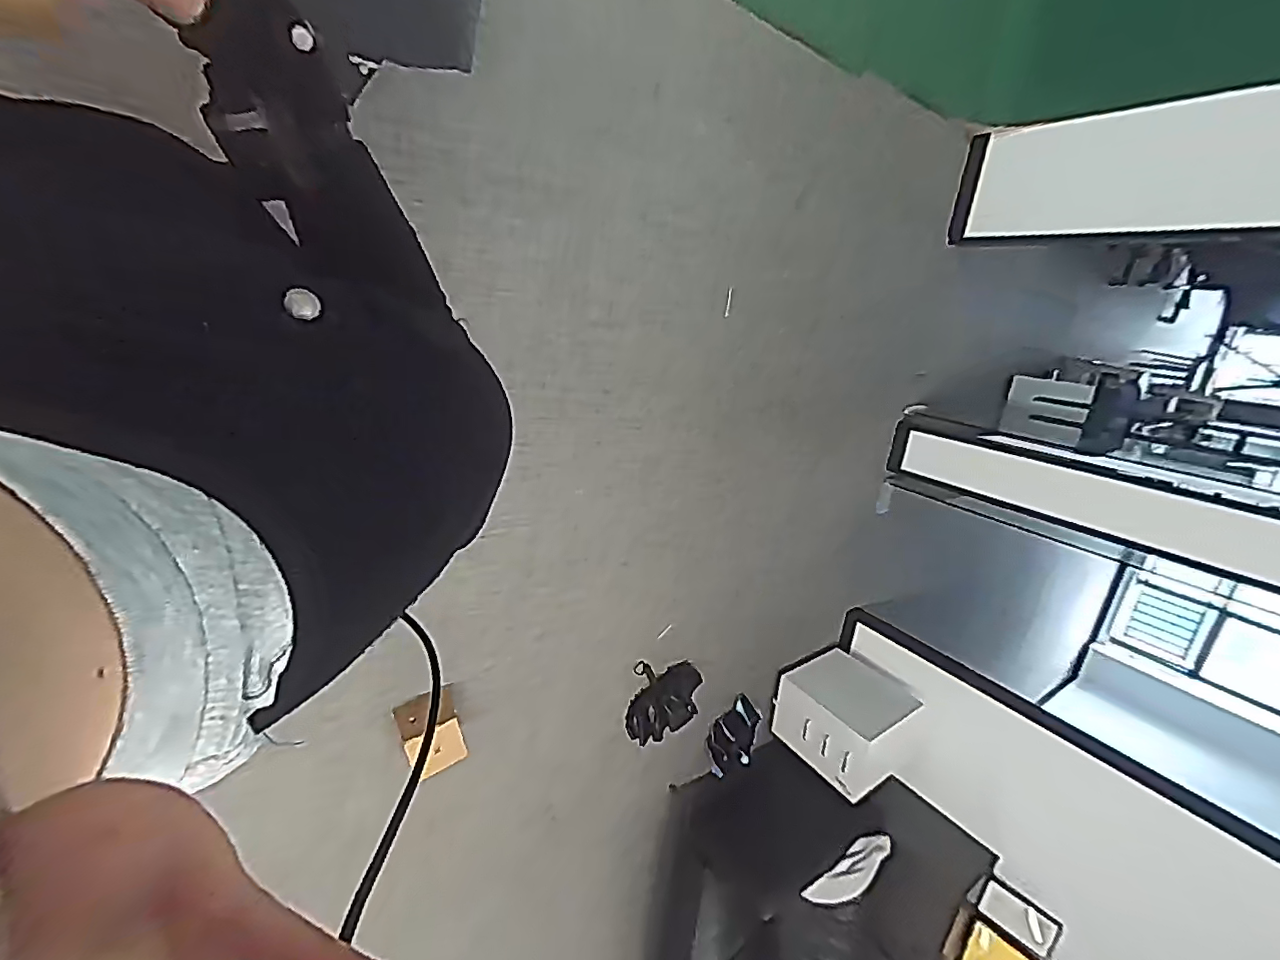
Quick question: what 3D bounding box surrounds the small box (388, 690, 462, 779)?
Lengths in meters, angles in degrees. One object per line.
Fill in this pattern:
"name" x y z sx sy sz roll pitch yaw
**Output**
"small box" -0.703 0.818 1.763 0.168 0.176 0.179 -20 121 -28
